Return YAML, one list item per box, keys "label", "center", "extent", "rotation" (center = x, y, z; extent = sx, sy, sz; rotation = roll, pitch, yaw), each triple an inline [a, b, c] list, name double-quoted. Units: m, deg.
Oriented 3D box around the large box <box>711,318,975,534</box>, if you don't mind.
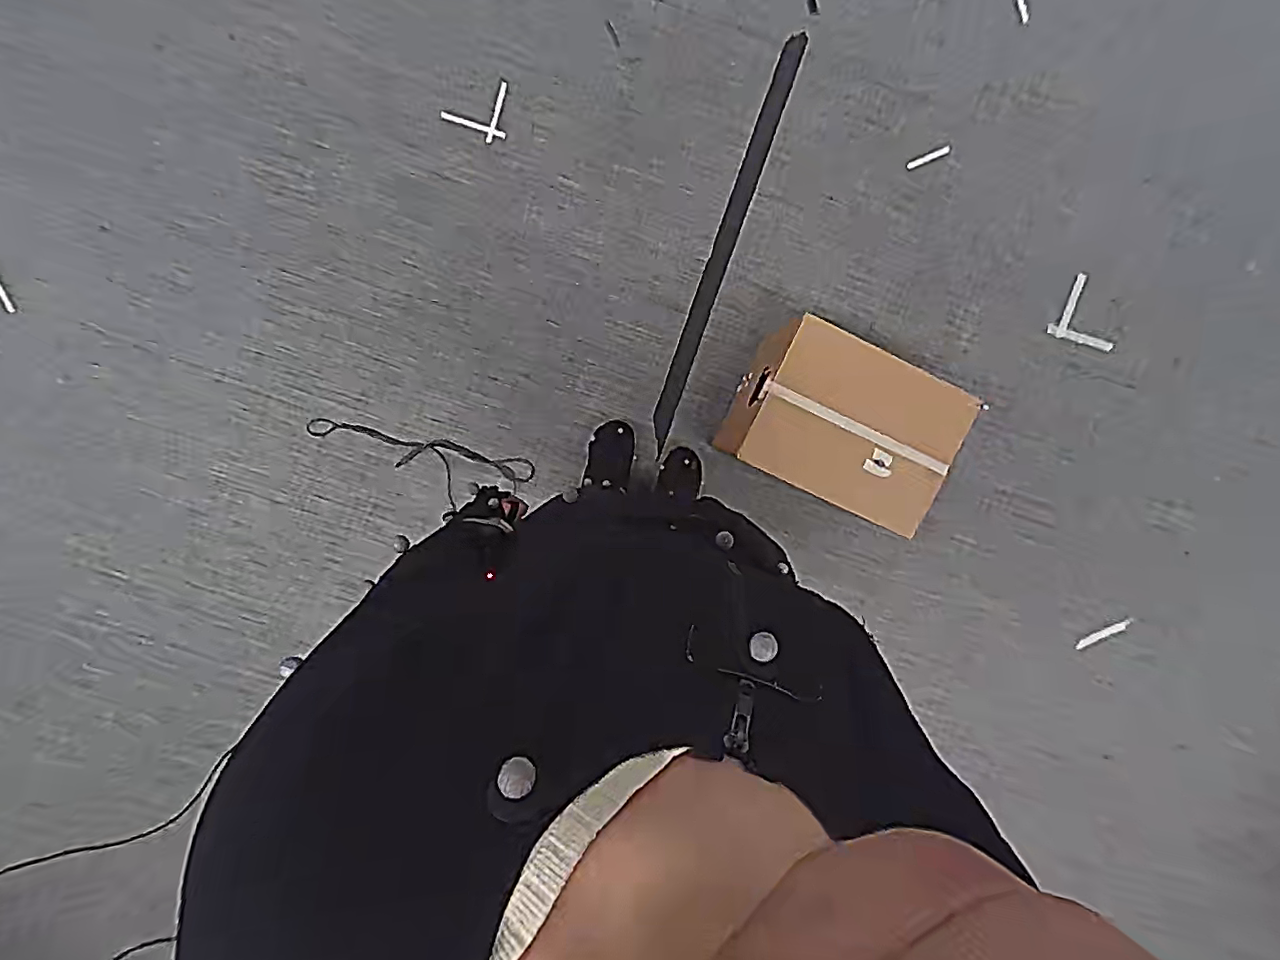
- label: "large box"
  center: [0.422, -0.119, 1.222]
  extent: [0.408, 0.320, 0.320]
  rotation: [24, 96, -5]
